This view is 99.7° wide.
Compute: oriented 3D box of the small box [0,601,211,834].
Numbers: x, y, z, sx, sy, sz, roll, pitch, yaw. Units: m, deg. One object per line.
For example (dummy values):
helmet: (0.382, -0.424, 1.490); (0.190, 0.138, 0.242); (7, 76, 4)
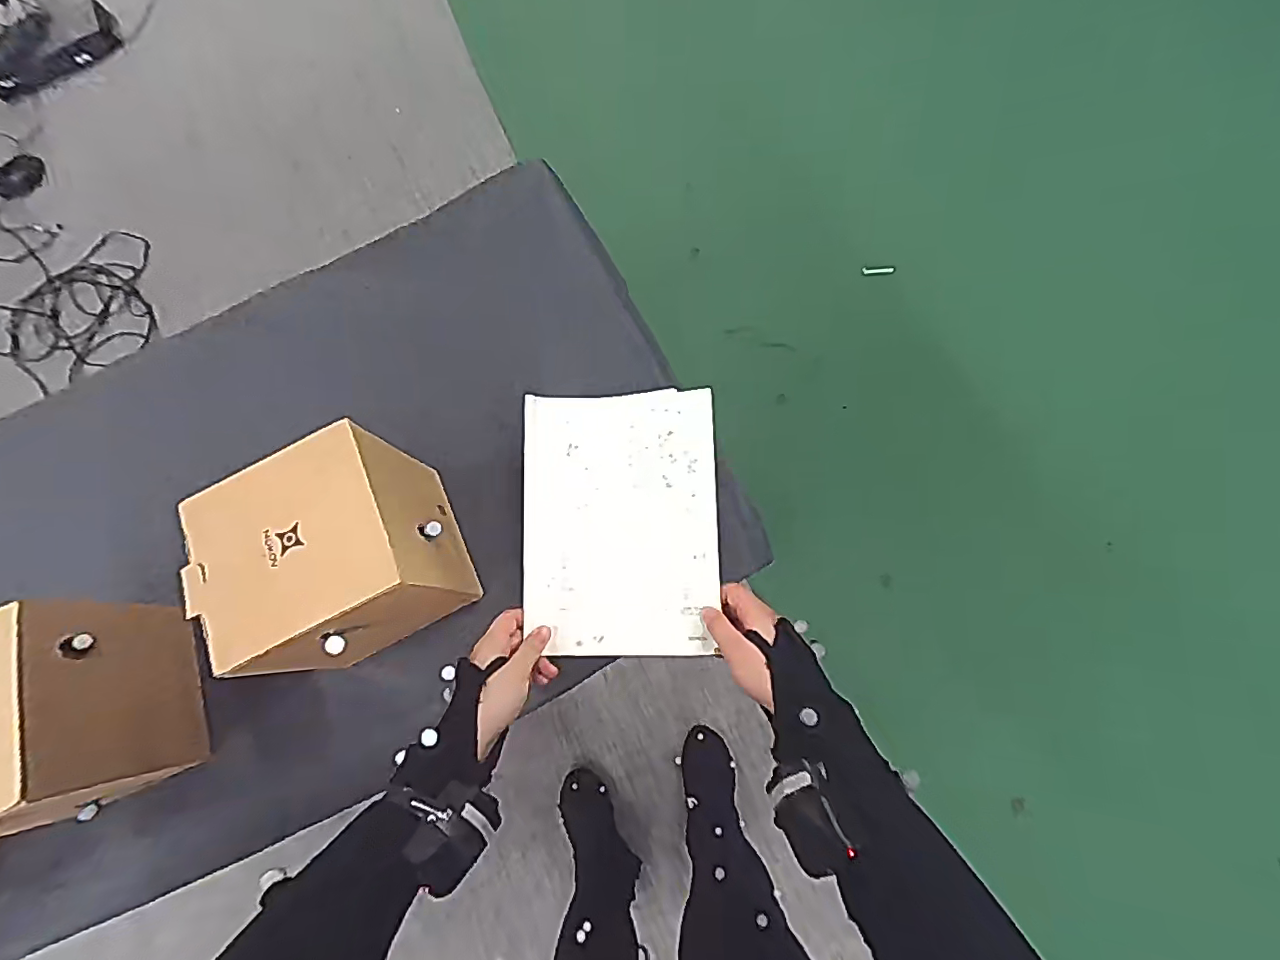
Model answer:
small box: (-0.579, 0.236, 0.539); (0.168, 0.176, 0.179); (-24, 73, 2)

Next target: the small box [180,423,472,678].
small box: (-0.291, 0.074, 0.540); (0.179, 0.176, 0.168); (-28, 73, 1)
